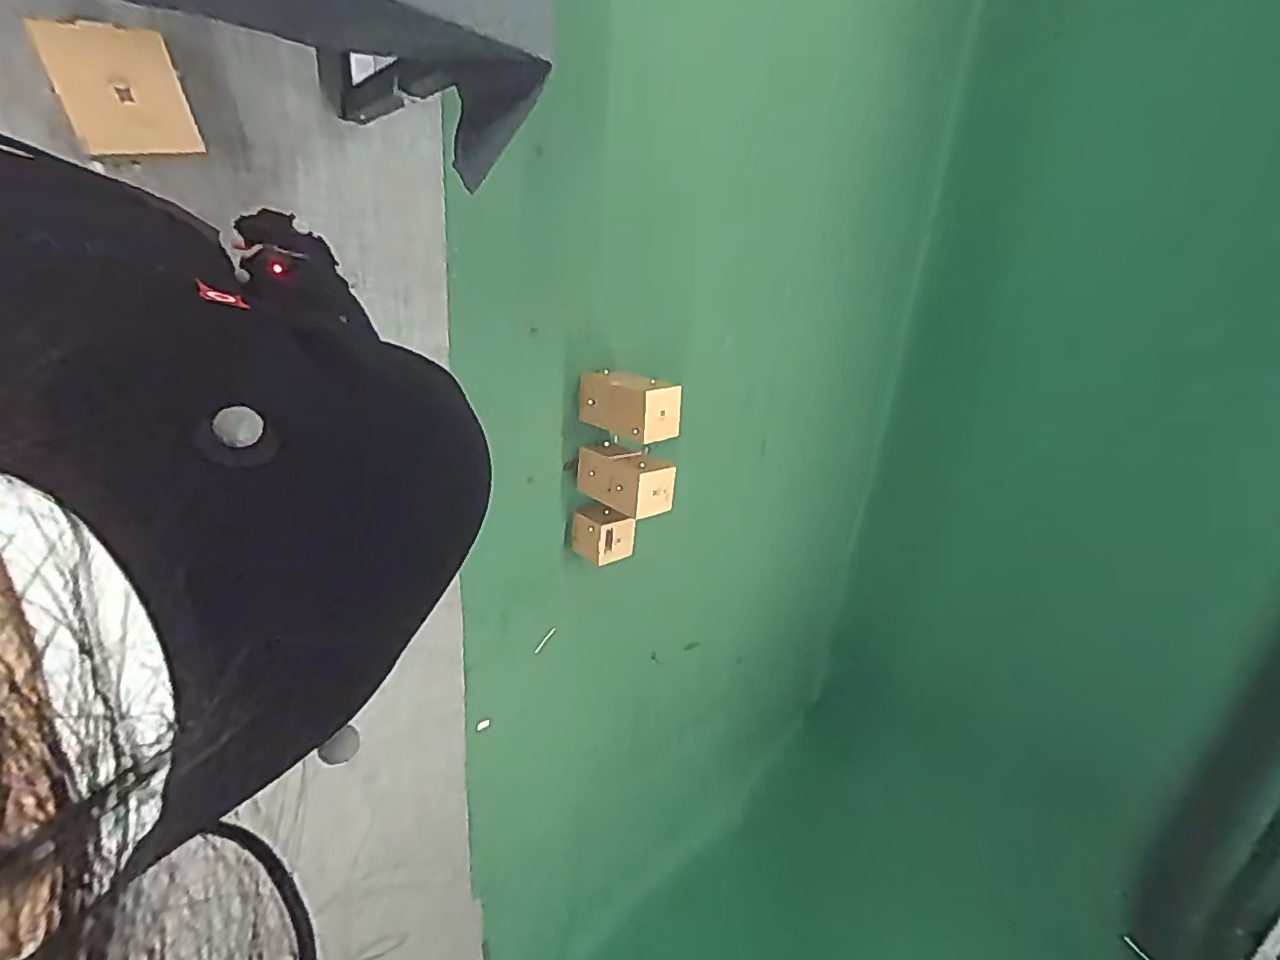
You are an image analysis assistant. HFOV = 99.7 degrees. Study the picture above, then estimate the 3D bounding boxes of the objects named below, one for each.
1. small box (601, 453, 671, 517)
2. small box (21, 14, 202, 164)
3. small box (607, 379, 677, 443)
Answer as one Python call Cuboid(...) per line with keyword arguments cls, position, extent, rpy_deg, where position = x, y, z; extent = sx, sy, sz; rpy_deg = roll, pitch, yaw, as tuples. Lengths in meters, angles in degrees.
Cuboid(cls="small box", position=(-0.017, 0.013, 1.894), extent=(0.179, 0.176, 0.168), rpy_deg=(-13, 117, -43))
Cuboid(cls="small box", position=(-0.897, -0.654, 0.925), extent=(0.168, 0.176, 0.179), rpy_deg=(-28, 125, -36))
Cuboid(cls="small box", position=(0.003, -0.238, 1.804), extent=(0.168, 0.176, 0.179), rpy_deg=(-17, 119, -41))
